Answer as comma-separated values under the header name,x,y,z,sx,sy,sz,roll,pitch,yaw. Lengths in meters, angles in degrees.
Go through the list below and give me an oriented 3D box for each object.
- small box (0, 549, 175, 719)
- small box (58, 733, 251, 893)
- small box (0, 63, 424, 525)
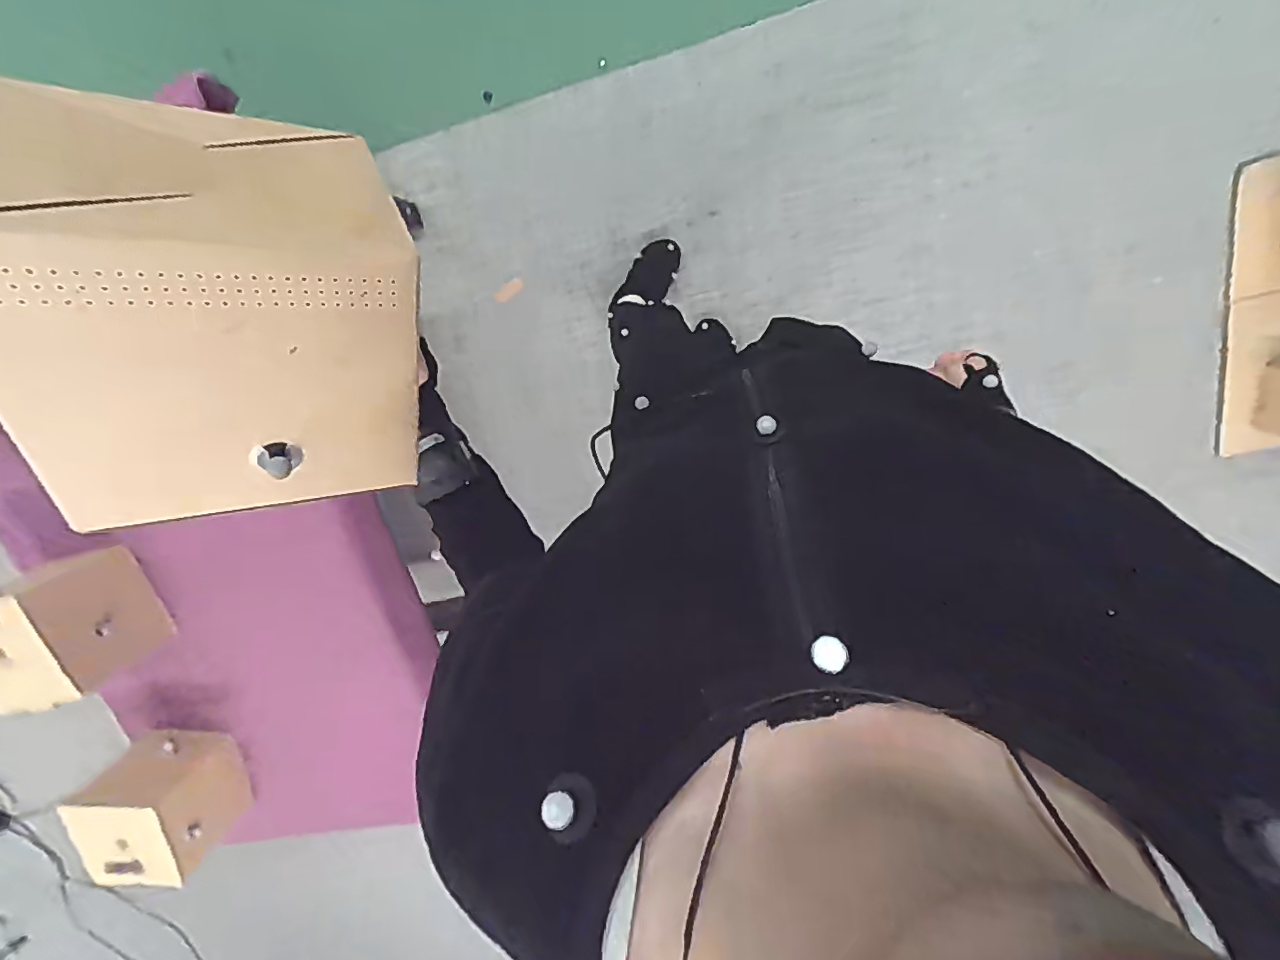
name,x,y,z,sx,sy,sz,roll,pitch,yaw
small box,-0.894,0.233,0.840,0.168,0.176,0.179,-13,108,7
small box,-0.834,0.580,0.953,0.168,0.176,0.179,-1,108,3
small box,-0.233,-0.102,0.312,0.179,0.168,0.176,-10,140,-32
